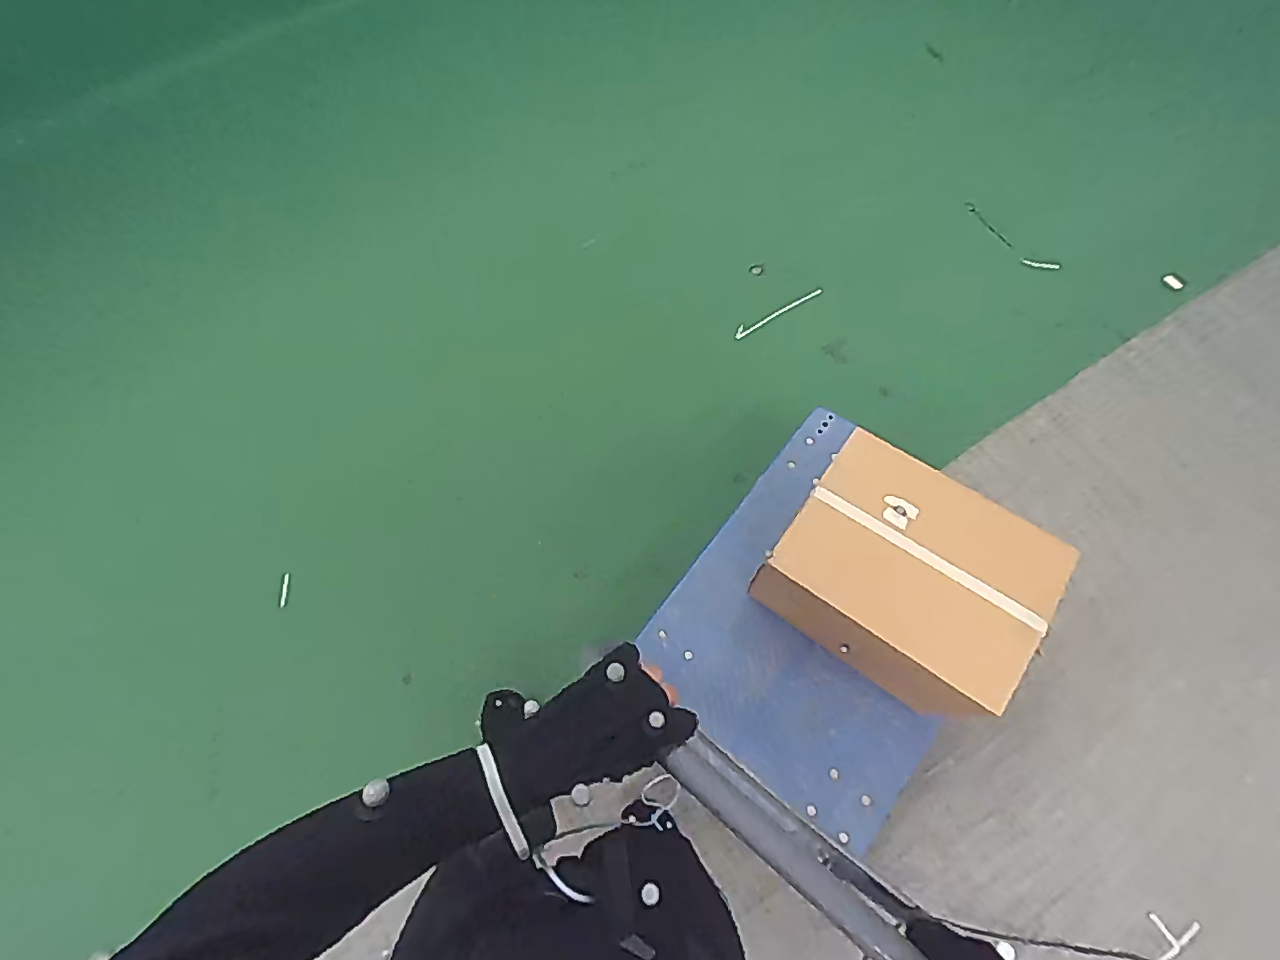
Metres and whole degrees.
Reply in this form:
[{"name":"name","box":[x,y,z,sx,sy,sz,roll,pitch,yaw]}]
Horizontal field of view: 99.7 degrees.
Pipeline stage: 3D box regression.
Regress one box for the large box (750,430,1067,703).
[{"name":"large box","box":[0.475,0.177,1.045,0.408,0.320,0.320,33,74,17]}]
